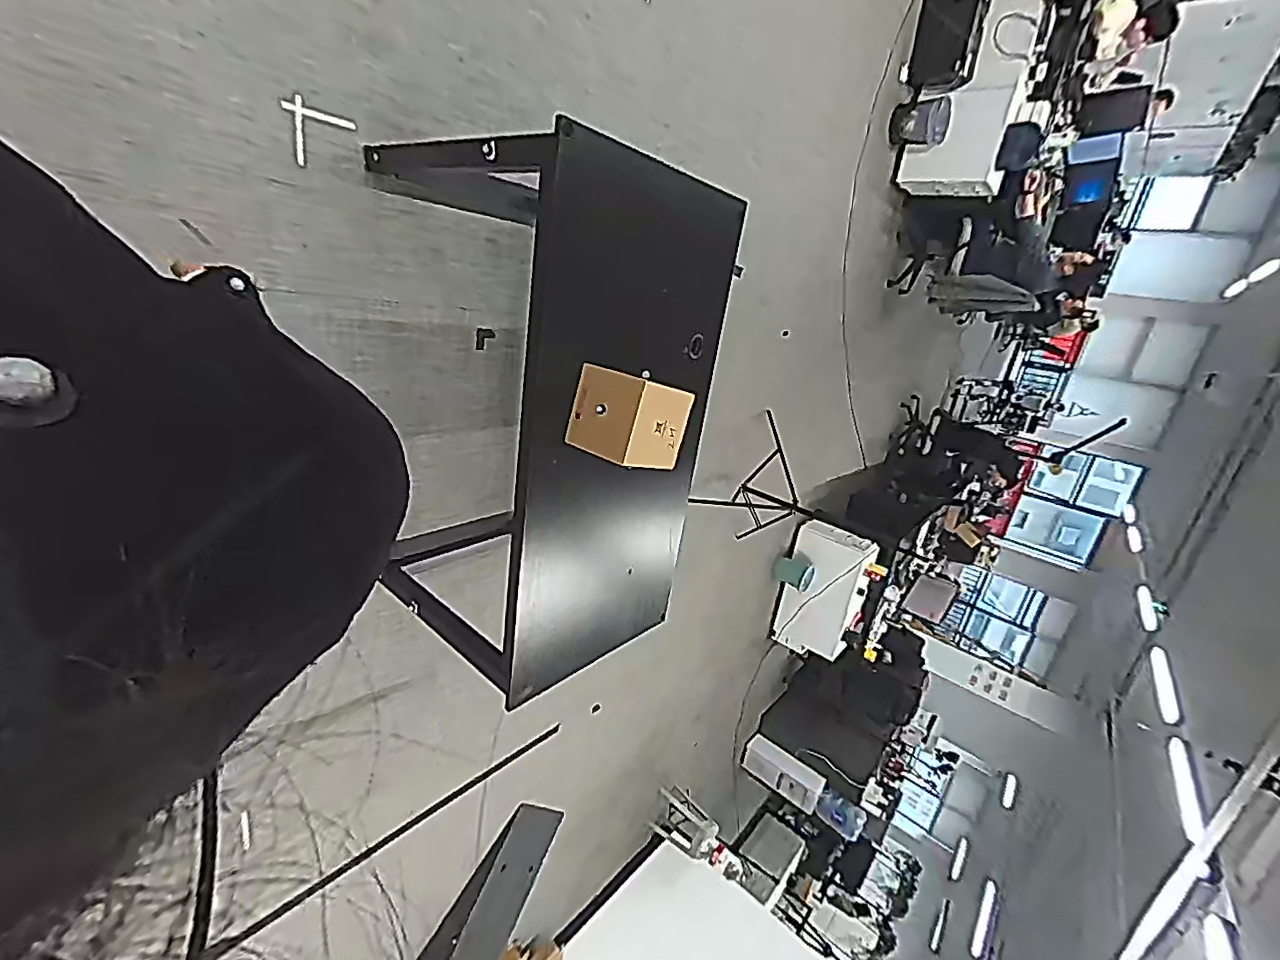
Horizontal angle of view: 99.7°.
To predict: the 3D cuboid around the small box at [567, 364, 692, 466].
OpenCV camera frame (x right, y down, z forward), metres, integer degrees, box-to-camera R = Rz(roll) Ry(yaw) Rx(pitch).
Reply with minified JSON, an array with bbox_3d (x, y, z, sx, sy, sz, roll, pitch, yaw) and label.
[{"bbox_3d":[-0.024,-0.135,1.117,0.179,0.176,0.168,2,108,-54],"label":"small box"}]
